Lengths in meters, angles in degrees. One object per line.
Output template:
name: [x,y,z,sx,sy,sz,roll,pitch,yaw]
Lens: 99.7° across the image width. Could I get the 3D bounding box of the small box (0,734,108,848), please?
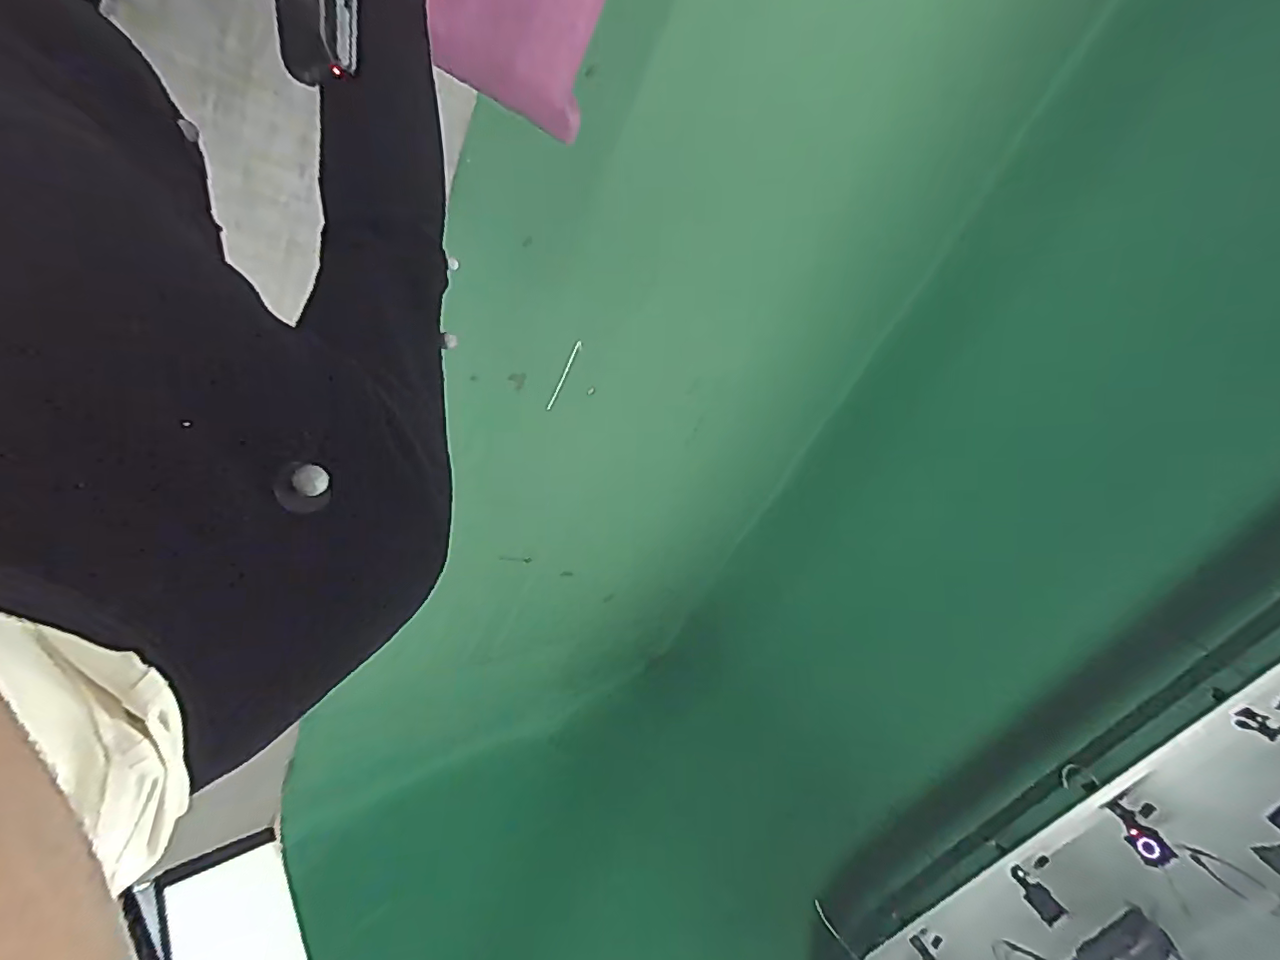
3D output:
small box: [-1.526,0.793,1.401,0.179,0.176,0.168,8,122,-53]
